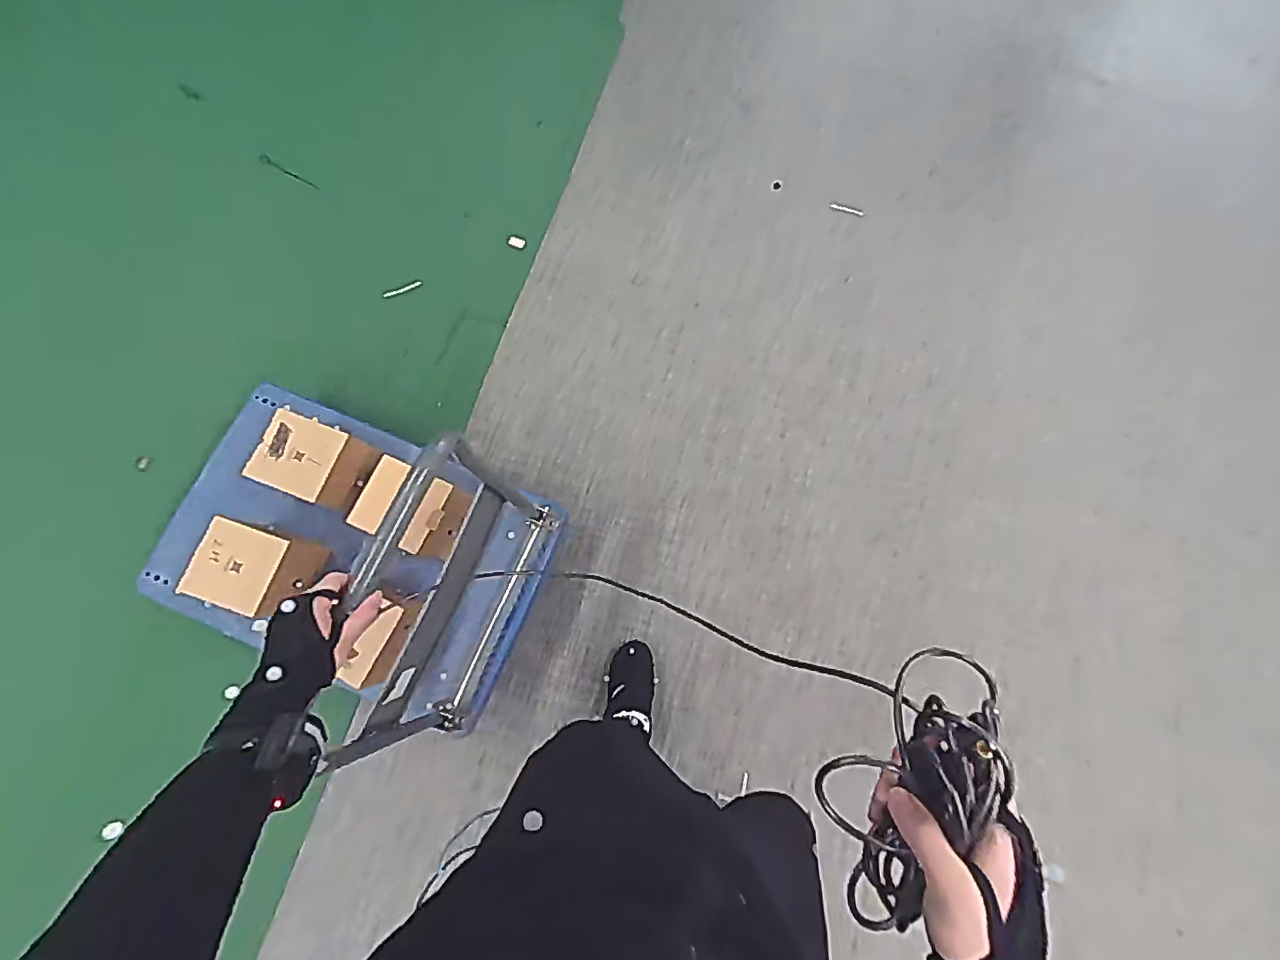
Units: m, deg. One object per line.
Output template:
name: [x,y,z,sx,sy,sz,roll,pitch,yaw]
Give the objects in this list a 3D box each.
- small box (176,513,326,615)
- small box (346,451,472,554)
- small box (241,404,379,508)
small box: [-0.839,0.186,1.188,0.179,0.176,0.168,19,78,3]
small box: [-0.510,0.061,1.222,0.179,0.176,0.168,24,78,3]
small box: [-0.744,-0.046,1.240,0.179,0.176,0.168,21,79,3]
